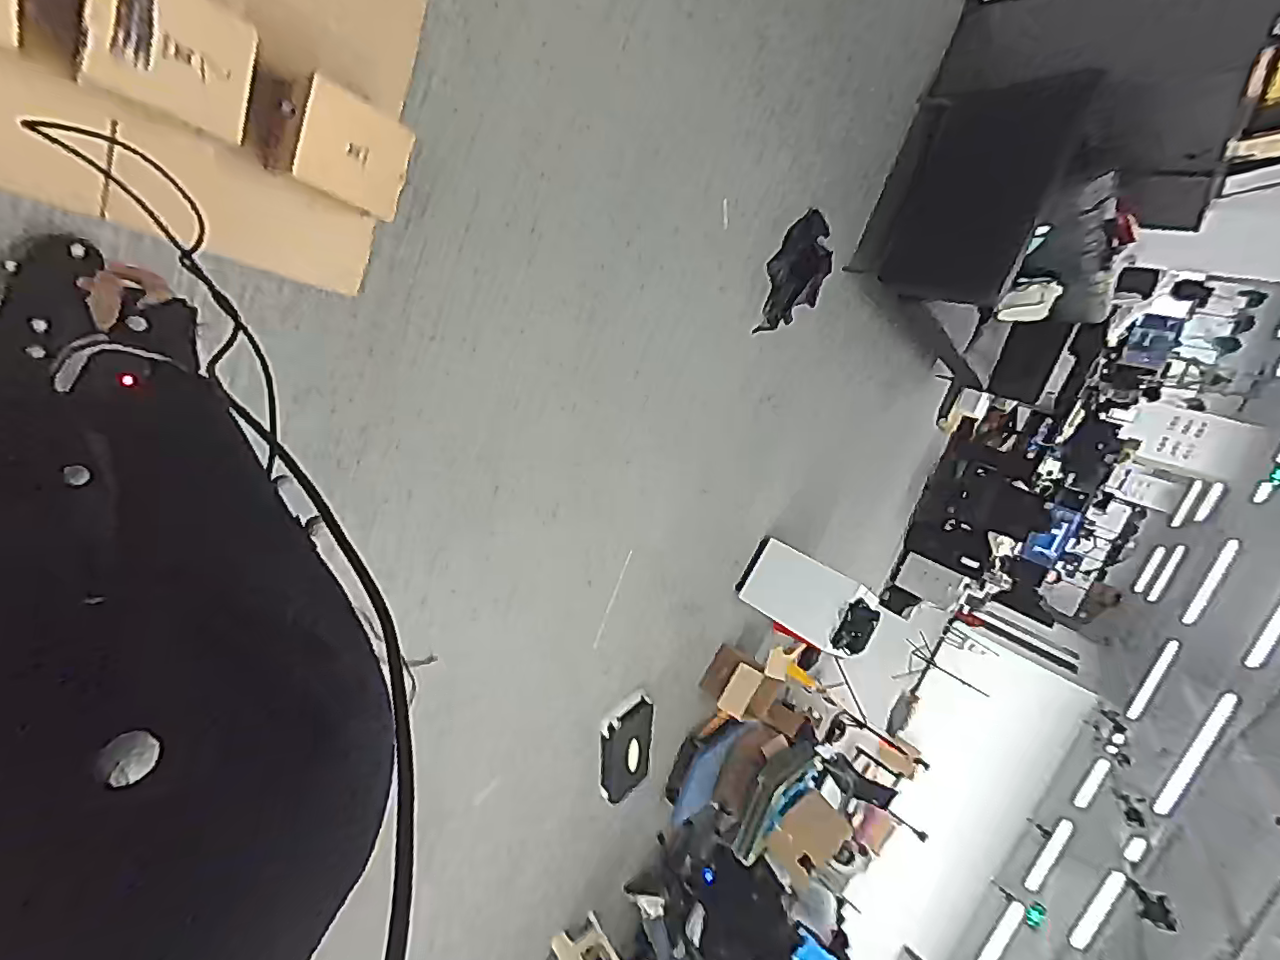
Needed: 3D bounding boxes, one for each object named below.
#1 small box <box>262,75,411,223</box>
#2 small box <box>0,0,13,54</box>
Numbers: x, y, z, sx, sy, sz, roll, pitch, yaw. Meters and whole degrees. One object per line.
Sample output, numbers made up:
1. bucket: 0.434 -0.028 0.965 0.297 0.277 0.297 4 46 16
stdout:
1. small box: -0.560 -0.595 0.991 0.179 0.176 0.168 9 105 -51
2. small box: -0.862 -0.630 0.625 0.179 0.176 0.168 -2 114 -50
